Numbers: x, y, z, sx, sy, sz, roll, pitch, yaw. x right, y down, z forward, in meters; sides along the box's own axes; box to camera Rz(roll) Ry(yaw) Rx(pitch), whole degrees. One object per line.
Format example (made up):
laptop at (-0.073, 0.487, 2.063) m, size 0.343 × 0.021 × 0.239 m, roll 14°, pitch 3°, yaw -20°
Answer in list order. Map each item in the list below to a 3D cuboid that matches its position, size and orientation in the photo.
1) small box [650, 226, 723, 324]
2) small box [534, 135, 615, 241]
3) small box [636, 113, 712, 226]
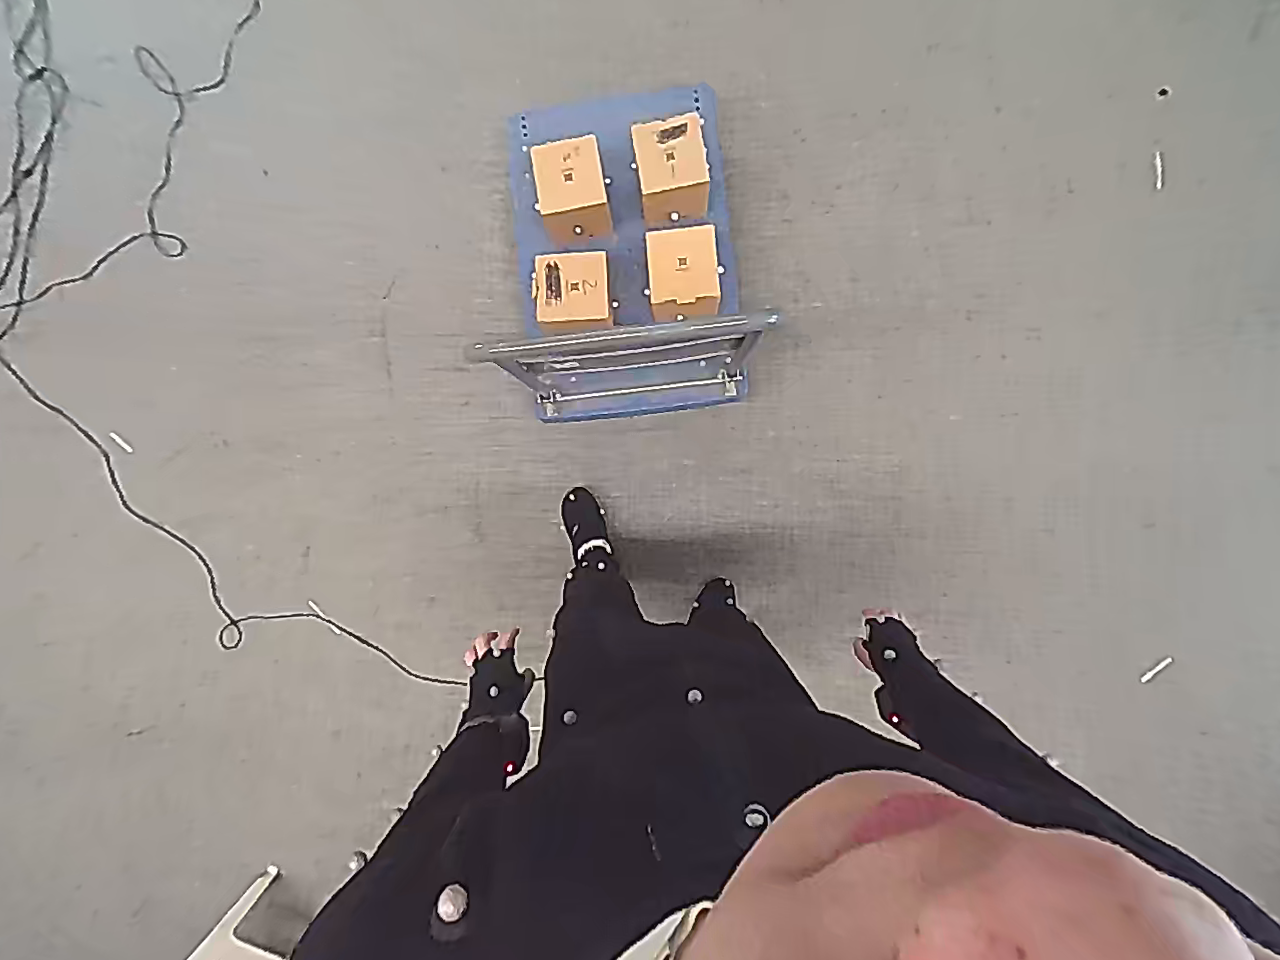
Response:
small box at (0.113, -0.510, 1.363) m, size 0.168 × 0.176 × 0.179 m, roll -5°, pitch 88°, yaw 3°
small box at (-0.162, -0.736, 1.387) m, size 0.168 × 0.176 × 0.179 m, roll -9°, pitch 88°, yaw 3°
small box at (0.086, -0.779, 1.372) m, size 0.168 × 0.176 × 0.179 m, roll -9°, pitch 89°, yaw 4°
